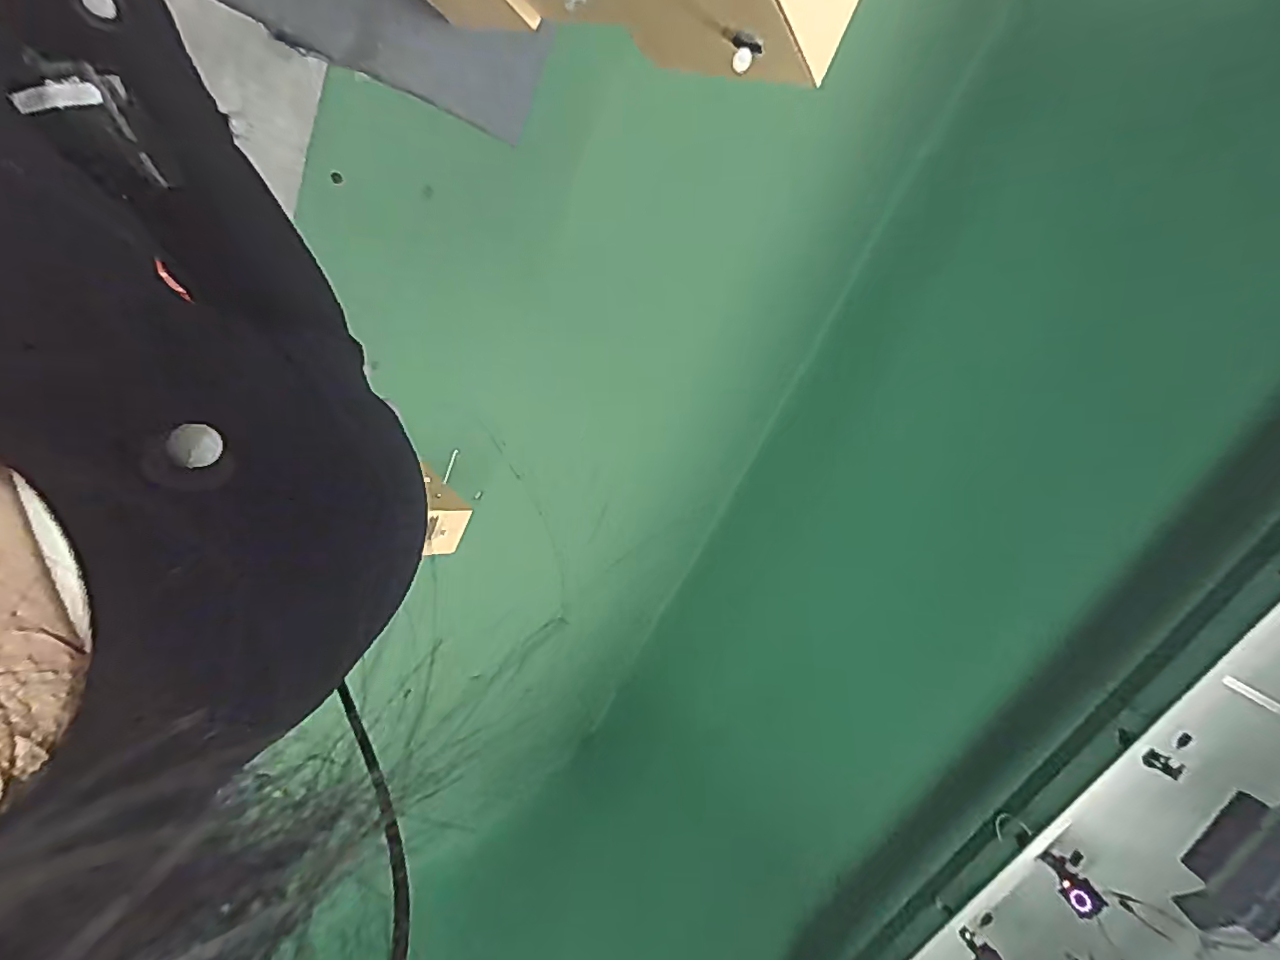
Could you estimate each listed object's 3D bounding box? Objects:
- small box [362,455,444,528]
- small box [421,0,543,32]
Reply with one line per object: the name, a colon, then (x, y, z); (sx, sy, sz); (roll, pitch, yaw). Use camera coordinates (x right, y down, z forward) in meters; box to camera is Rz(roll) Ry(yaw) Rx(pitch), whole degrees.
small box: (-0.782, 0.041, 1.770); (0.168, 0.176, 0.179); (5, 117, -56)
small box: (-0.170, -0.568, 0.496); (0.168, 0.176, 0.179); (8, 114, -56)
